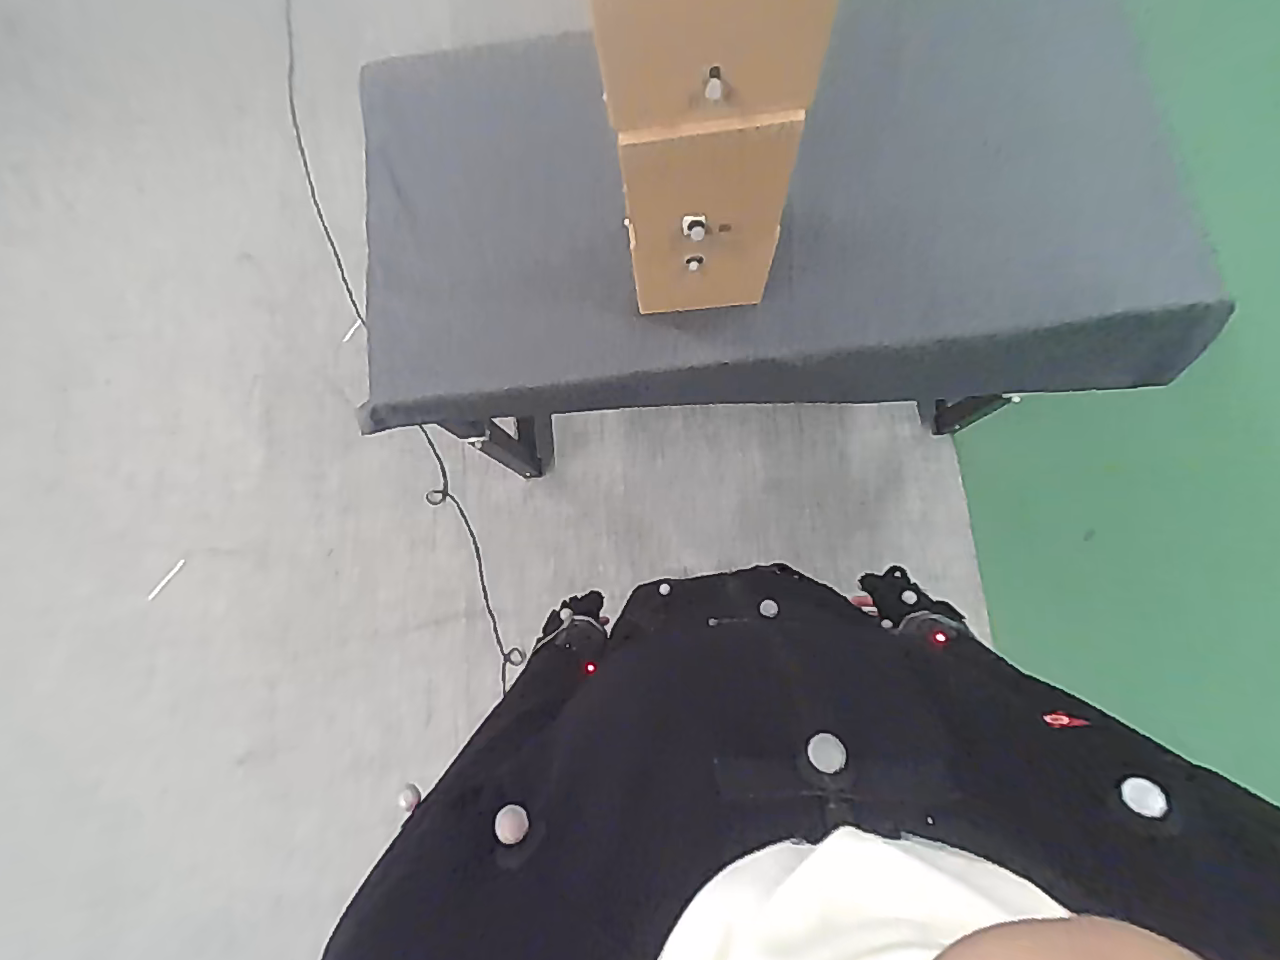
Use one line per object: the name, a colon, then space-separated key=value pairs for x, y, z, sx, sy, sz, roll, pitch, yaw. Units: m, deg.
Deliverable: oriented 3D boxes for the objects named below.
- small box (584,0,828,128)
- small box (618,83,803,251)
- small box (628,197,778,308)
small box: x=0.047 y=-0.407 z=0.409 sx=0.179 sy=0.176 sz=0.168 roll=-4 pitch=79 yaw=5
small box: x=0.065 y=-0.373 z=0.568 sx=0.168 sy=0.176 sz=0.179 roll=-5 pitch=80 yaw=6
small box: x=0.079 y=-0.346 z=0.726 sx=0.179 sy=0.176 sz=0.168 roll=-3 pitch=80 yaw=4
